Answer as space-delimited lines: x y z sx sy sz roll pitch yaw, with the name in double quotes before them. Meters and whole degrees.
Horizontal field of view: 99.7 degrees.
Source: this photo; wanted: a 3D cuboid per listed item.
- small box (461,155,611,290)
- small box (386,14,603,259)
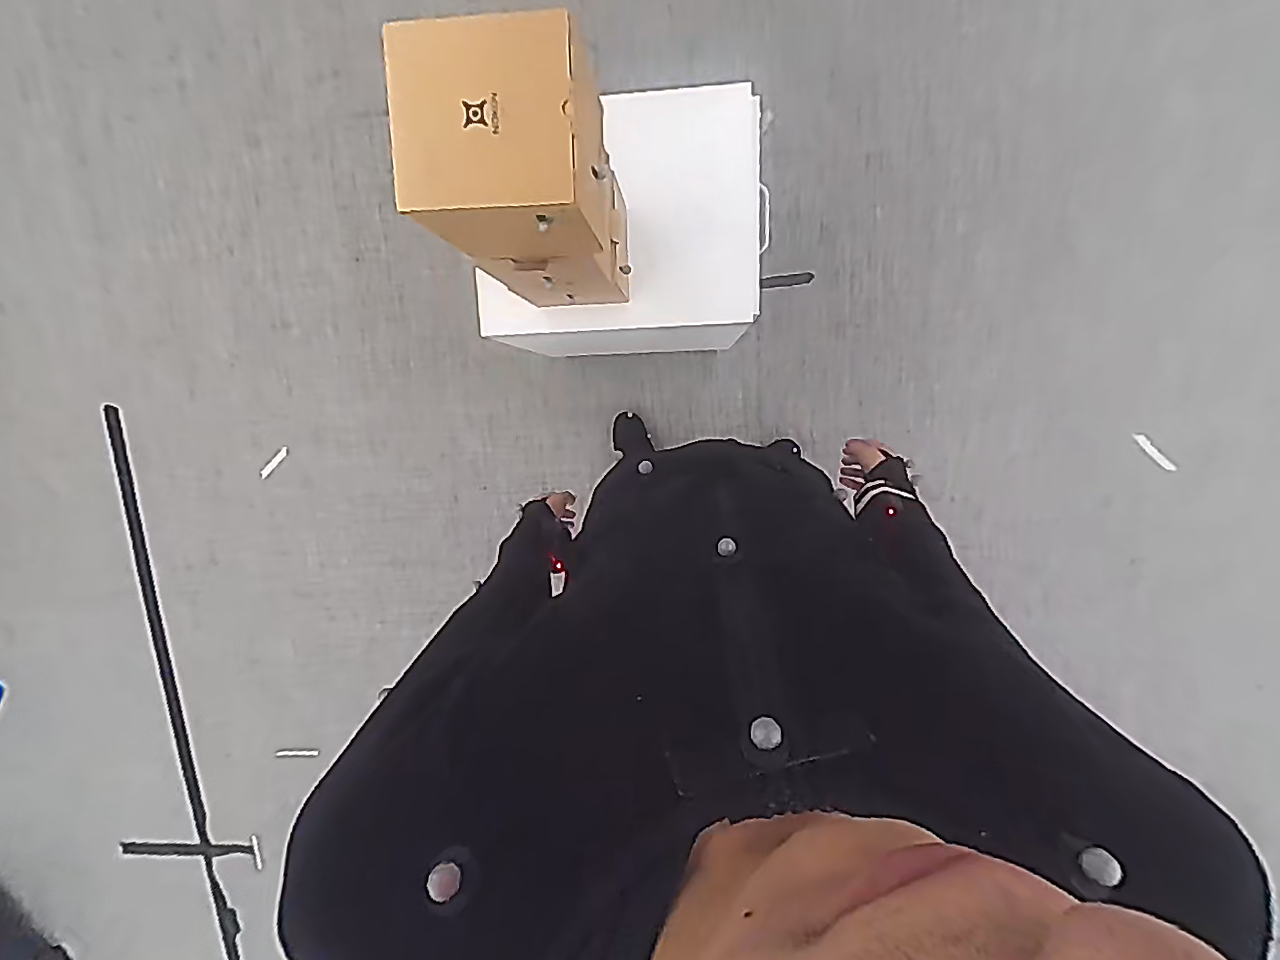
"small box" -0.134 -0.368 0.736 0.168 0.176 0.179 1 98 5
"small box" -0.139 -0.342 0.575 0.179 0.176 0.168 -1 98 4
